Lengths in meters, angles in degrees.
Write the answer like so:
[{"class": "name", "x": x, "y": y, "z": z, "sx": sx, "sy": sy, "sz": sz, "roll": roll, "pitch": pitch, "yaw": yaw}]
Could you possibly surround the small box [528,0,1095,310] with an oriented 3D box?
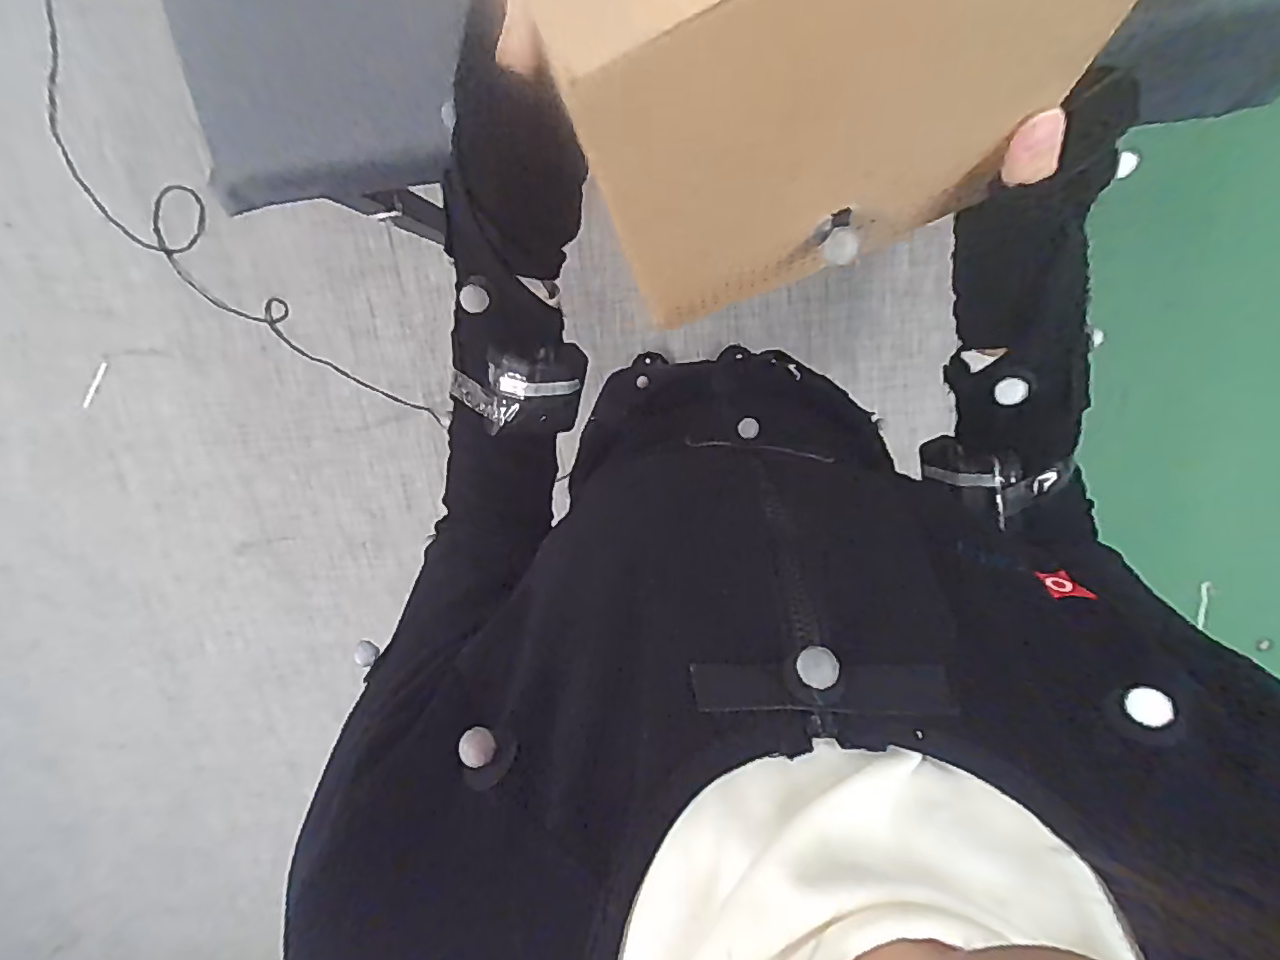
[{"class": "small box", "x": 0.047, "y": -0.198, "z": 0.211, "sx": 0.179, "sy": 0.176, "sz": 0.168, "roll": -22, "pitch": 81, "yaw": 7}]
